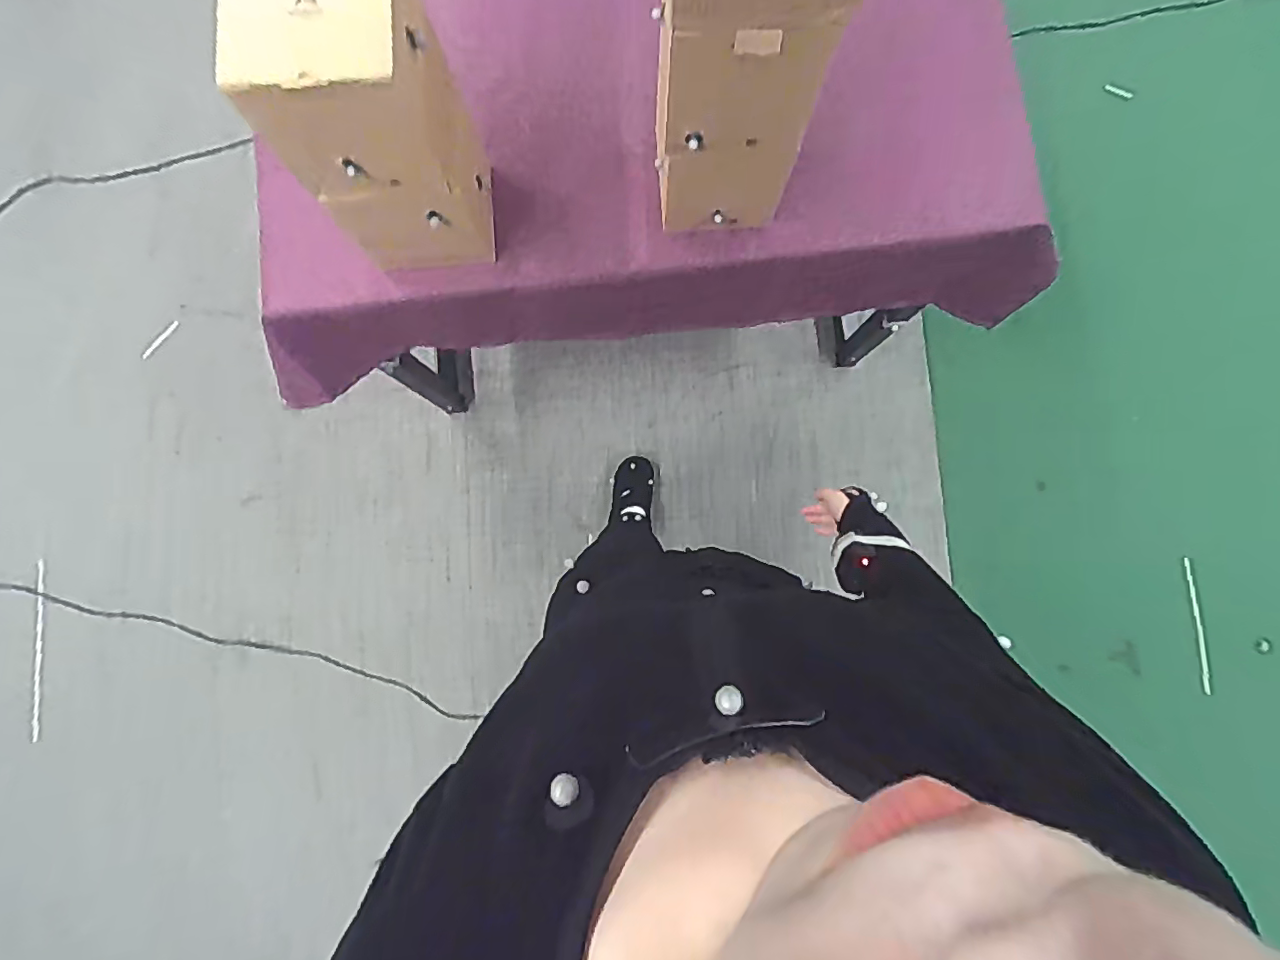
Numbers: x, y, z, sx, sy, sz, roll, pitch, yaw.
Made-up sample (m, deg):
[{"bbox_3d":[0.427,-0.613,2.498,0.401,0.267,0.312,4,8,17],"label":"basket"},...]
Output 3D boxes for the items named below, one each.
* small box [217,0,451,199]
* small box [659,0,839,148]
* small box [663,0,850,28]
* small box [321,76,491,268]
[{"bbox_3d":[-0.317,-0.443,0.594,0.168,0.176,0.179,-4,84,0],"label":"small box"},{"bbox_3d":[0.105,-0.495,0.592,0.168,0.176,0.179,-2,83,1],"label":"small box"},{"bbox_3d":[0.105,-0.506,0.429,0.179,0.176,0.168,0,85,0],"label":"small box"},{"bbox_3d":[-0.312,-0.416,0.754,0.179,0.176,0.168,-4,83,0],"label":"small box"}]
